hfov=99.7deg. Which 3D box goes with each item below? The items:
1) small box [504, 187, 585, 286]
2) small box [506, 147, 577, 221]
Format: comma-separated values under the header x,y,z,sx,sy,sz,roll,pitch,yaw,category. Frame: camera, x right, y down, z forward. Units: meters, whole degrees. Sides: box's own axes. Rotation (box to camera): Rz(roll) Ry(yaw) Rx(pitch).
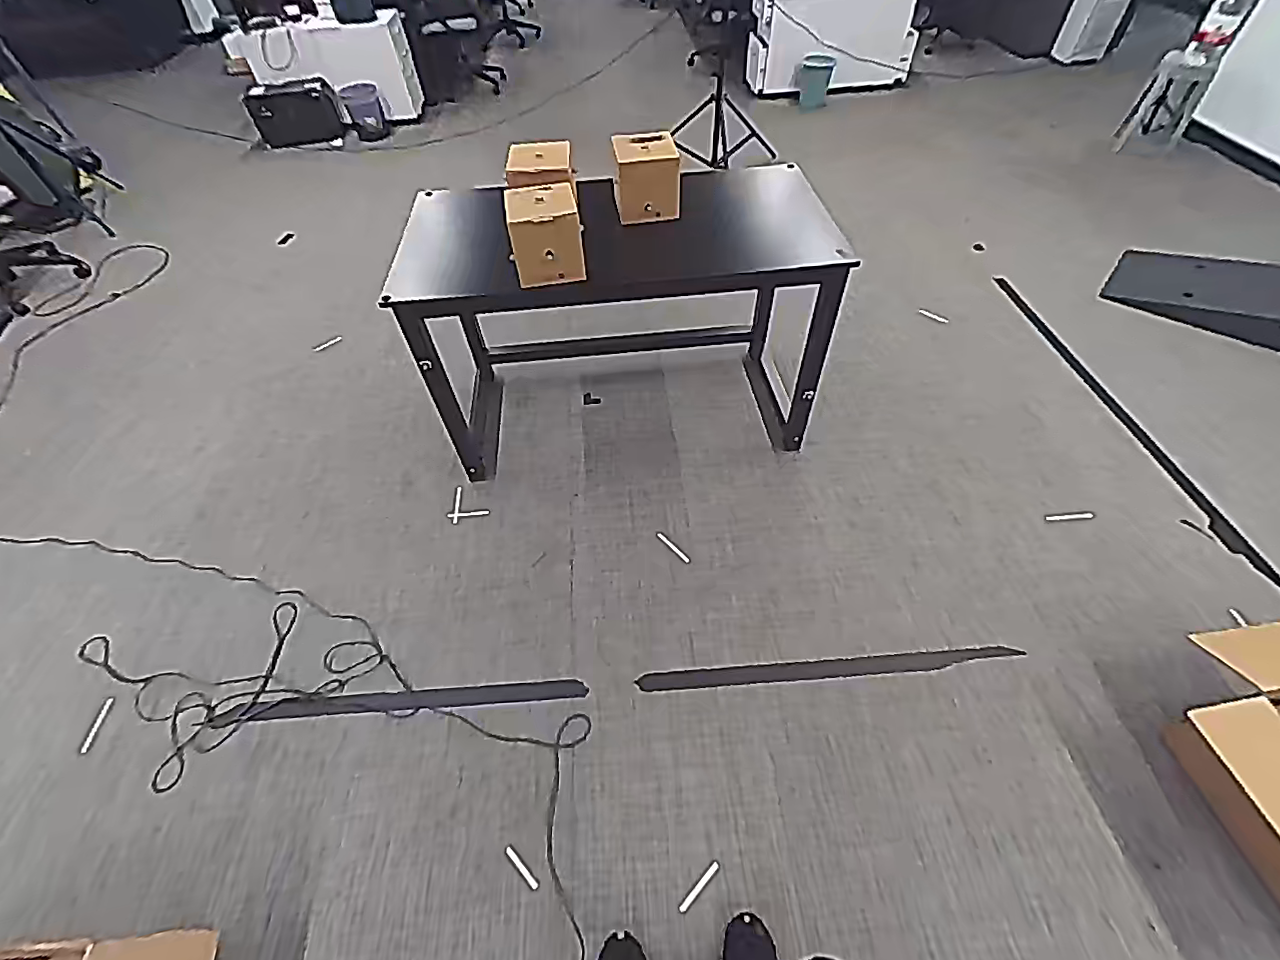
x,y,z,sx,sy,sz,roll,pitch,yaw,category
-0.237,-0.600,1.350,0.168,0.176,0.179,-10,52,-5,small box
-0.270,-0.809,1.521,0.168,0.176,0.179,-5,52,-1,small box
